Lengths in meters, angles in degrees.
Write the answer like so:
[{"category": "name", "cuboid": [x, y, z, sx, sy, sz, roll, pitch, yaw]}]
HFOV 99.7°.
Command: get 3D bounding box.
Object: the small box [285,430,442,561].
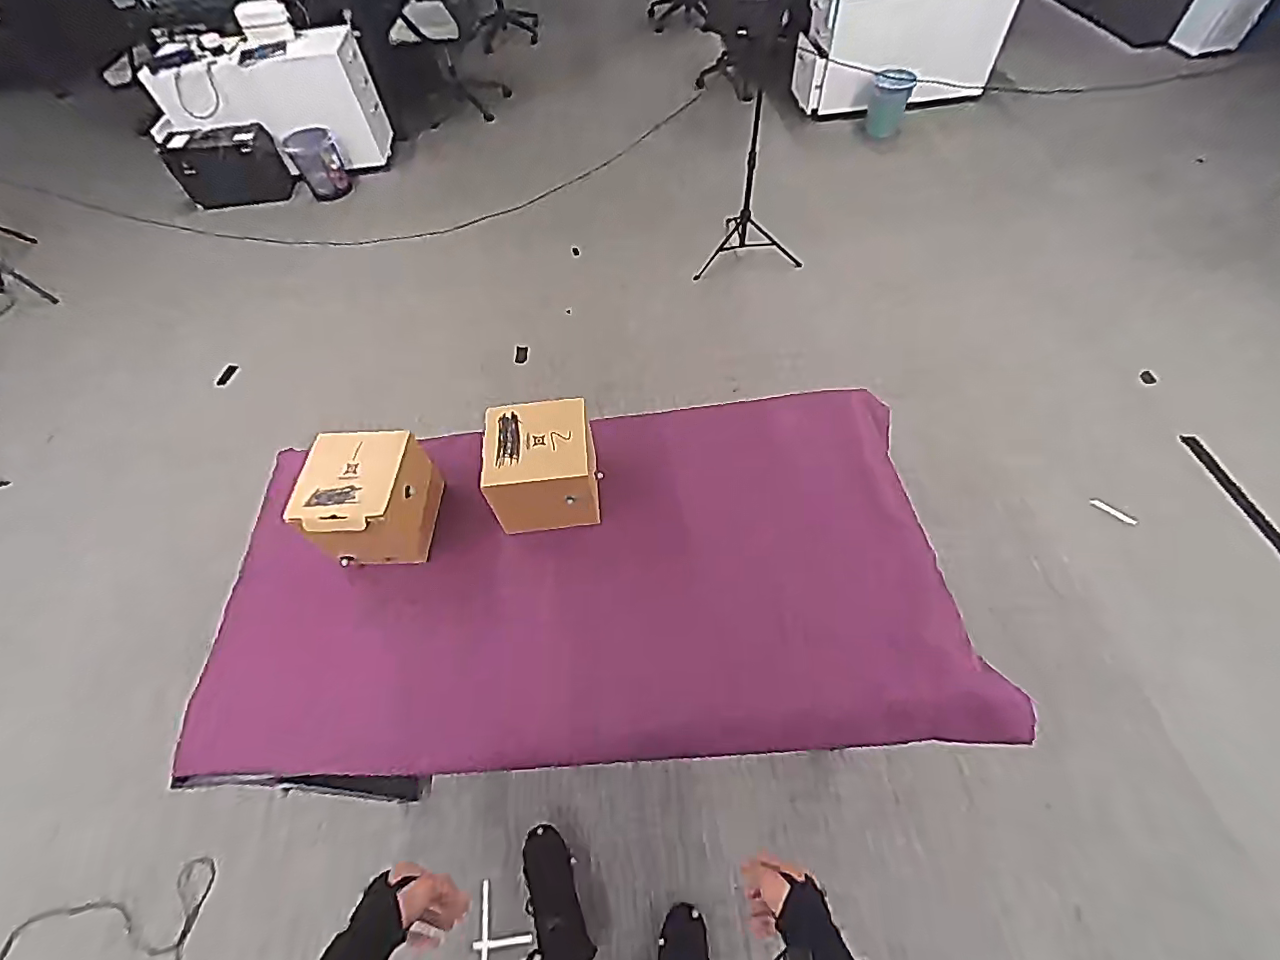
[{"category": "small box", "cuboid": [-0.466, 0.034, 0.946, 0.168, 0.176, 0.179, -2, 56, 2]}]
